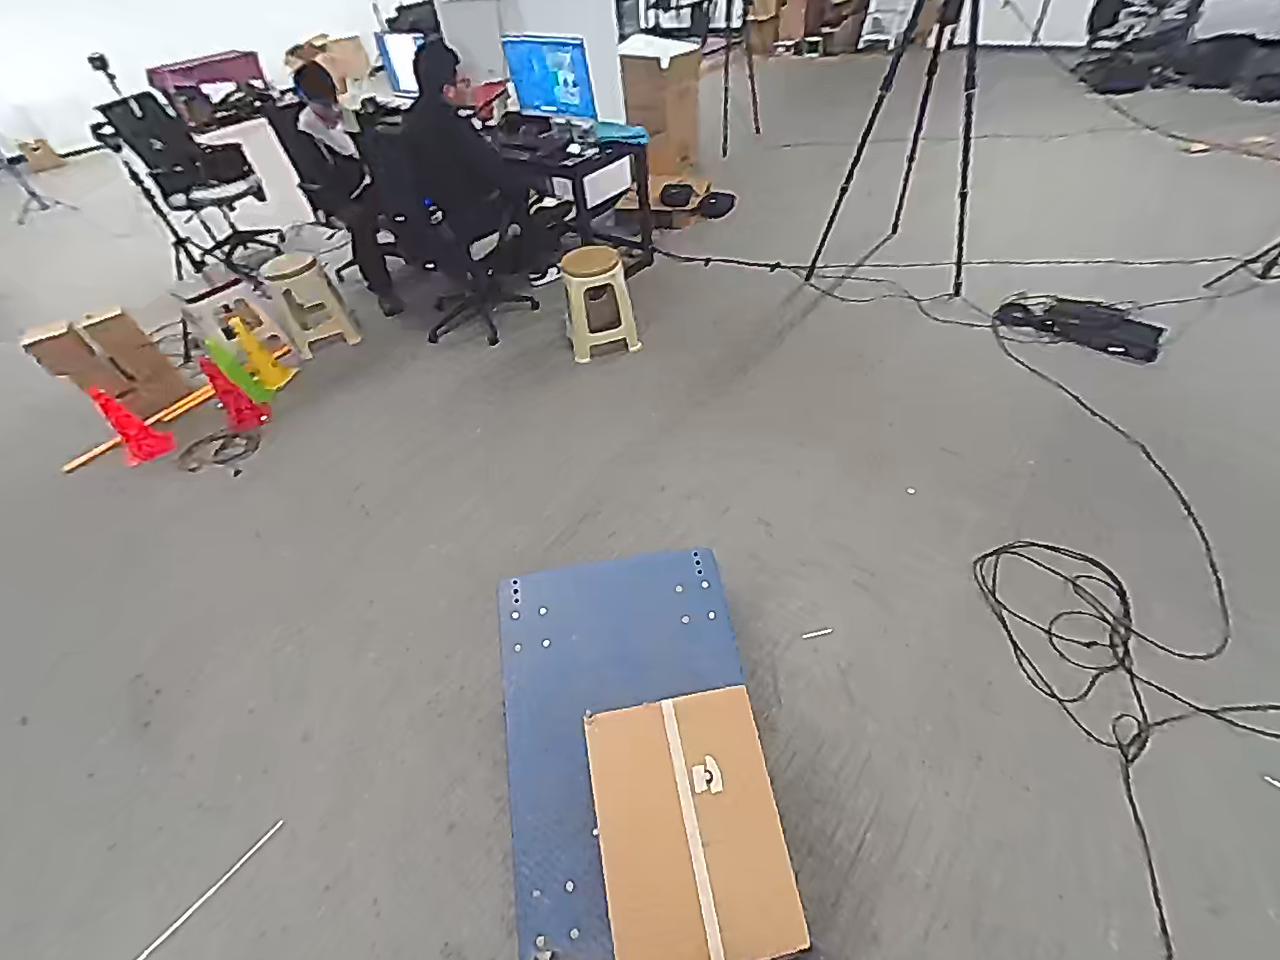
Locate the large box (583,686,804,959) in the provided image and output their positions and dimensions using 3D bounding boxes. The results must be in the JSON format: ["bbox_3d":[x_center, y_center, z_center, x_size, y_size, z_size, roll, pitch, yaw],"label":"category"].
[{"bbox_3d":[0.078,0.665,1.085,0.320,0.320,0.408,-9,65,-8],"label":"large box"}]
